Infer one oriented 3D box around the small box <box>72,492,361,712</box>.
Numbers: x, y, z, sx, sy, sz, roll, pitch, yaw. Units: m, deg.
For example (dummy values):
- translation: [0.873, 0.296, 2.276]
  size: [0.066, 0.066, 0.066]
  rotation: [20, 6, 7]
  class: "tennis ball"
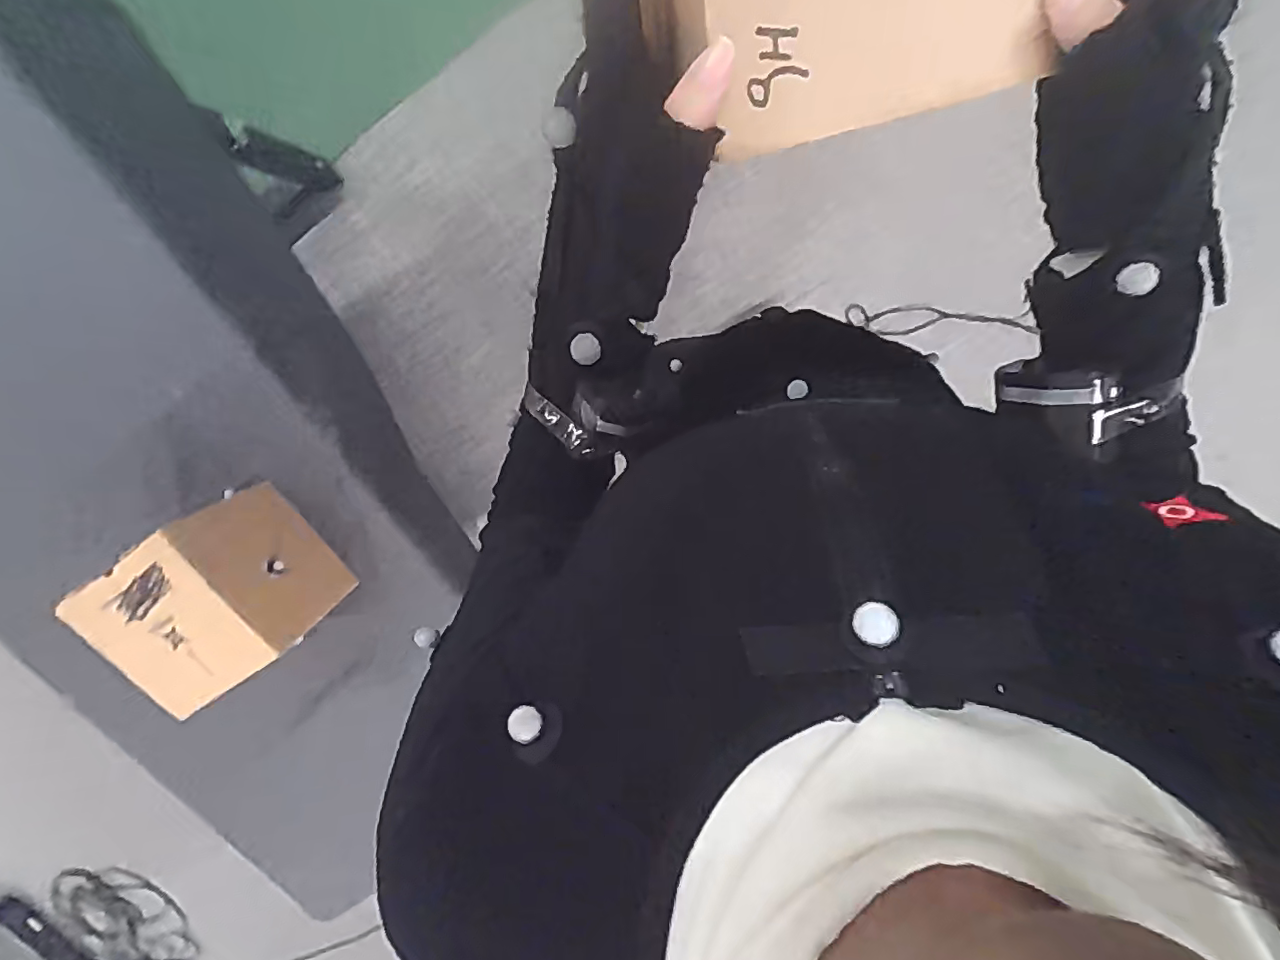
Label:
- translation: [-0.492, 0.133, 0.659]
  size: [0.168, 0.176, 0.179]
  rotation: [-32, 105, 12]
  class: "small box"
